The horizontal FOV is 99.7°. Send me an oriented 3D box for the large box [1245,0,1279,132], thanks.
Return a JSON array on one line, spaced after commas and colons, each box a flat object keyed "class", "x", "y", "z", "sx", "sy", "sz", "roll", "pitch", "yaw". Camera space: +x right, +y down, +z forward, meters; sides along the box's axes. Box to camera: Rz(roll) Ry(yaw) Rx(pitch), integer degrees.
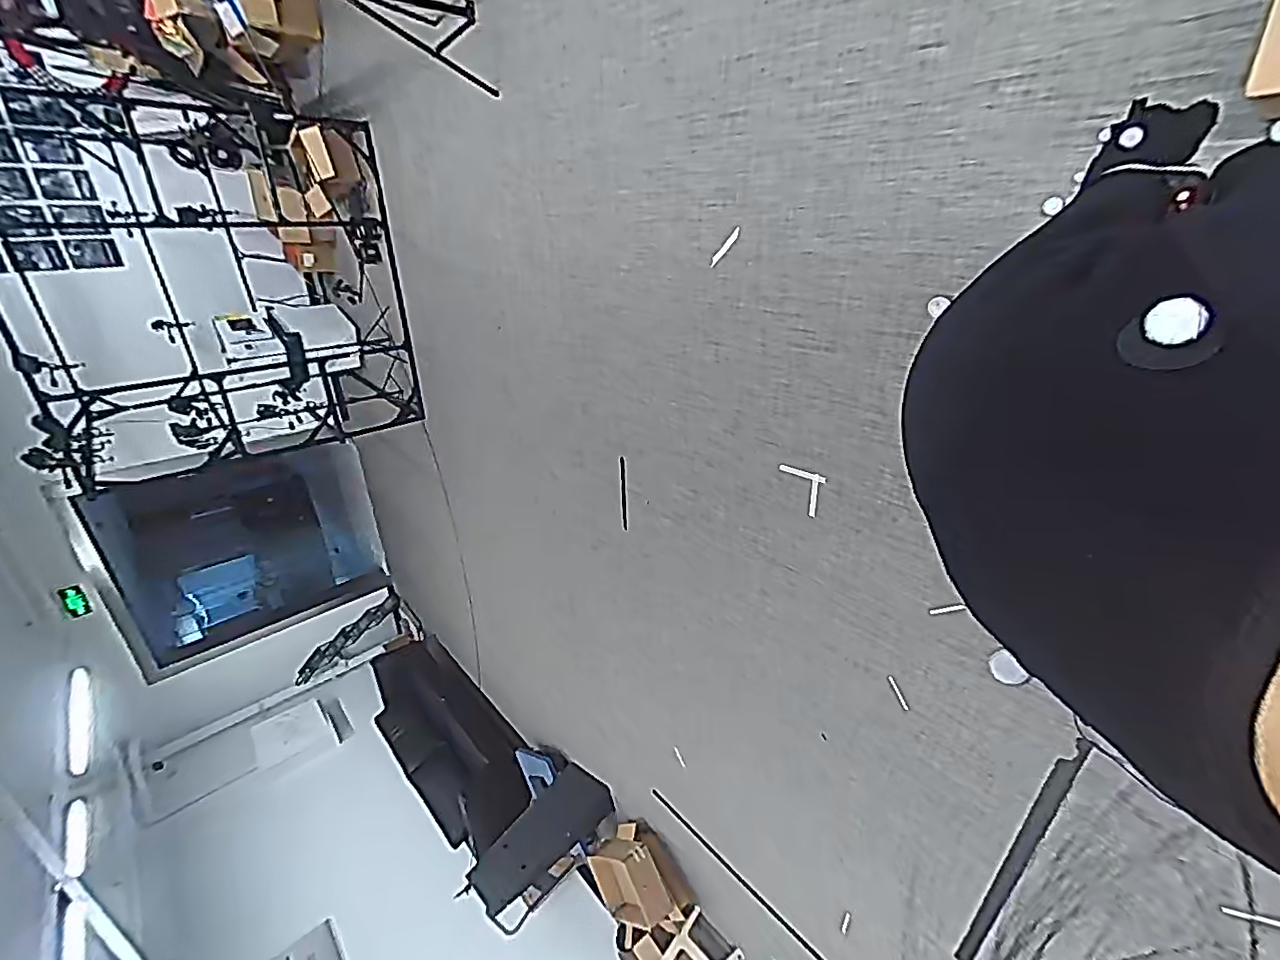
[{"class": "large box", "x": 1.066, "y": -0.647, "z": 0.646, "sx": 0.408, "sy": 0.320, "sz": 0.320, "roll": 21, "pitch": 123, "yaw": 43}]
